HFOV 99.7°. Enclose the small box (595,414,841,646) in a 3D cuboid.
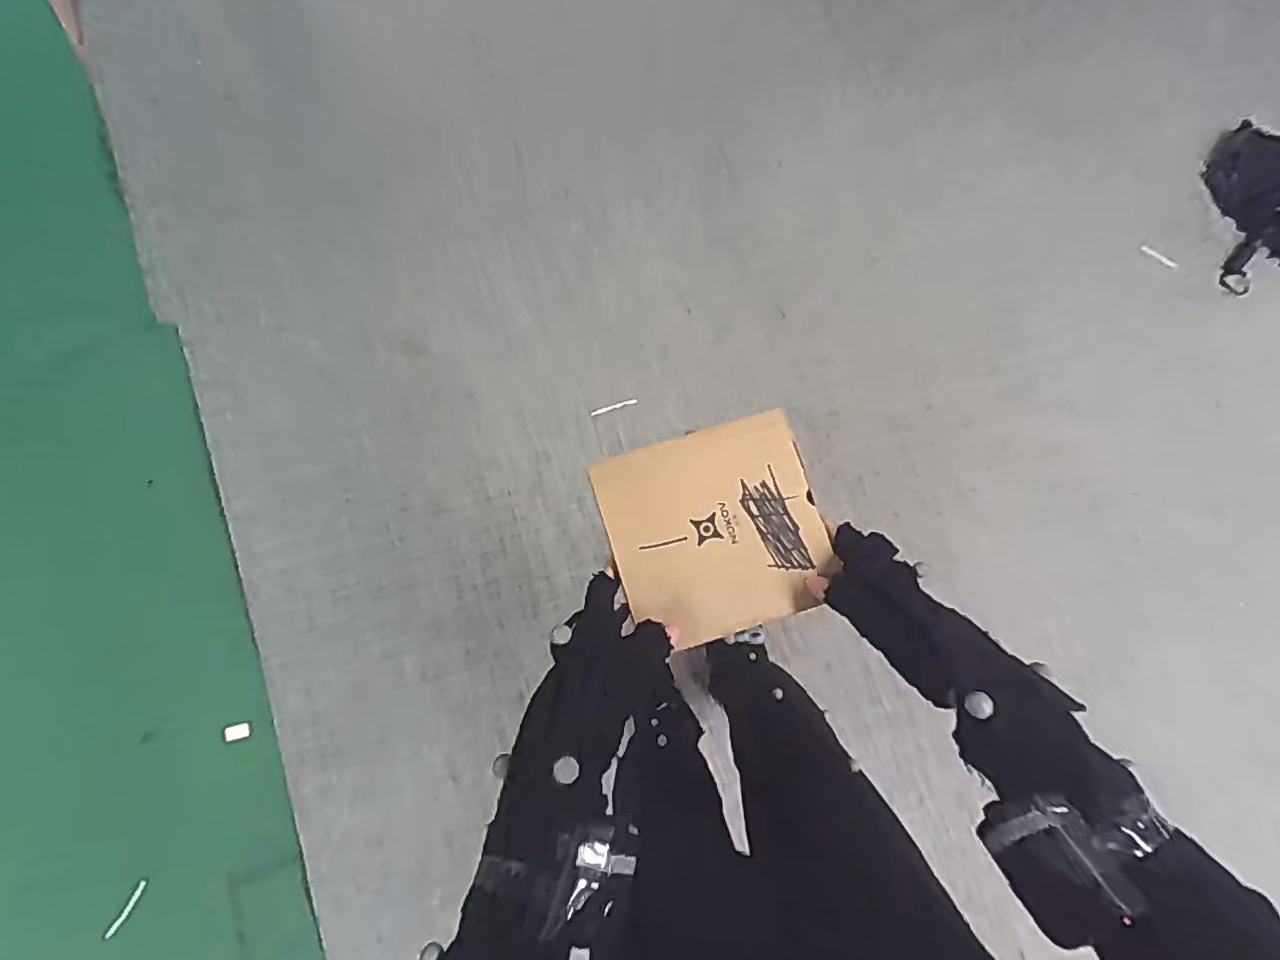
[{"bbox_3d":[0.061,0.055,0.529,0.179,0.176,0.168,-14,76,-4],"label":"small box"}]
